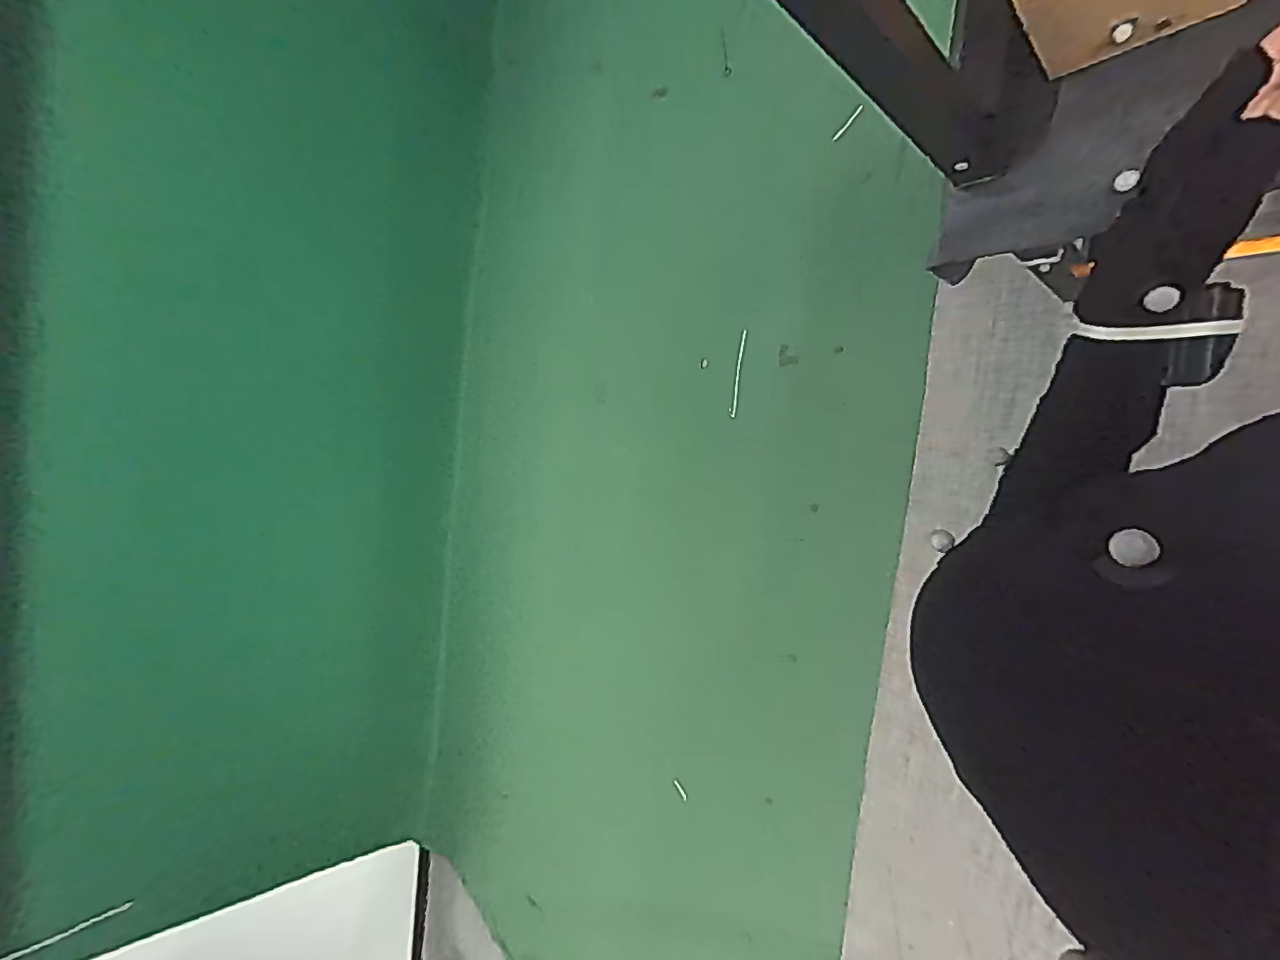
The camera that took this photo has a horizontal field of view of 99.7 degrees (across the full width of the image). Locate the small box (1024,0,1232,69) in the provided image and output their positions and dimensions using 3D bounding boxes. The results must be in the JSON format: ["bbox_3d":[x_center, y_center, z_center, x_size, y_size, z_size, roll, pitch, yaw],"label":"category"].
[{"bbox_3d":[0.505,-0.581,0.549,0.168,0.176,0.179,7,93,49],"label":"small box"}]
